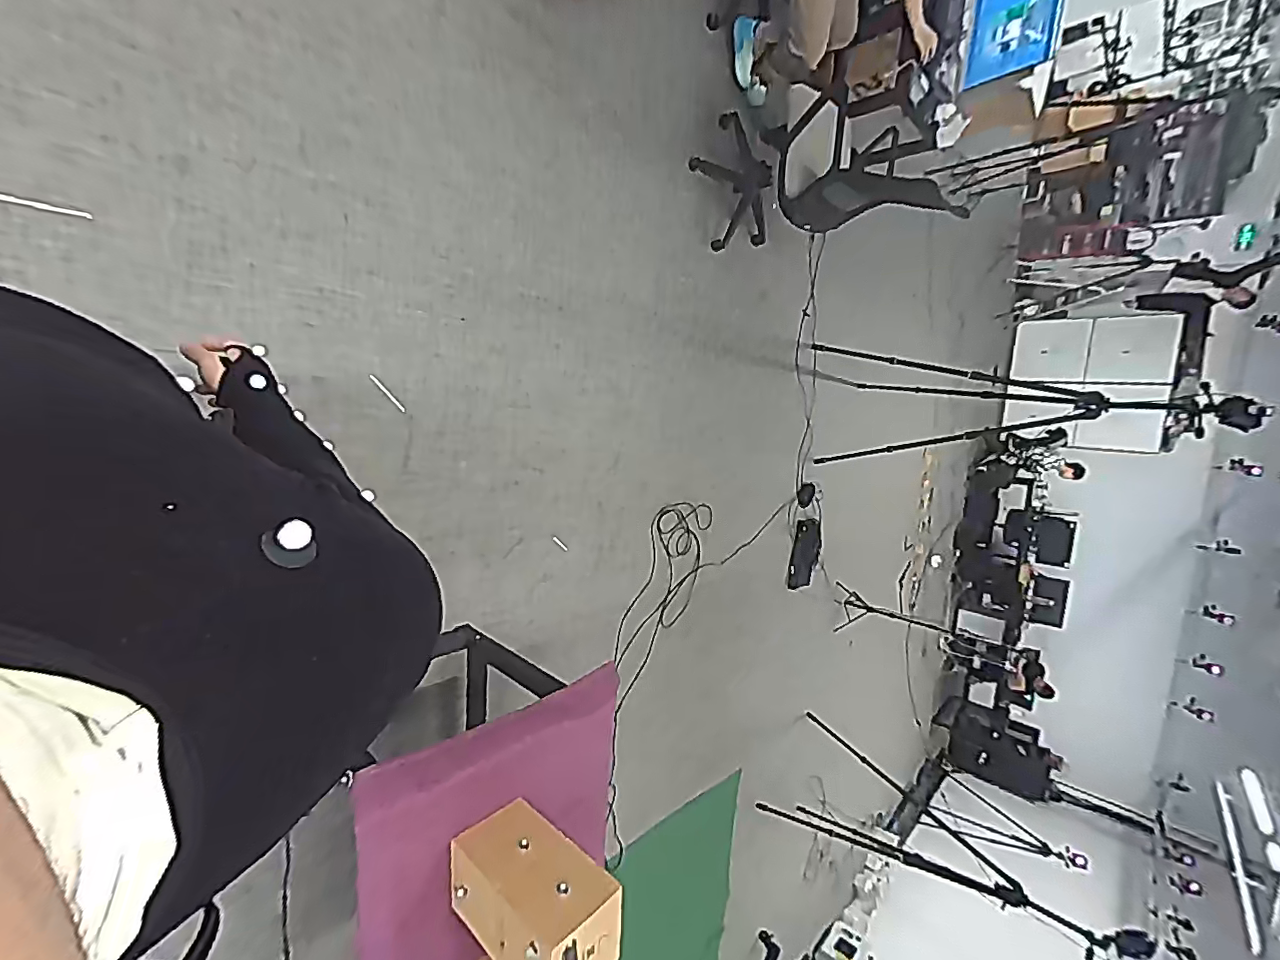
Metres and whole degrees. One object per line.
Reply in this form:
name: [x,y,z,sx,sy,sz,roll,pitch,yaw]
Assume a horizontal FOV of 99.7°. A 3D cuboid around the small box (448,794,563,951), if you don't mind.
small box: [-0.285,0.816,1.149,0.179,0.176,0.168,-7,103,-47]
